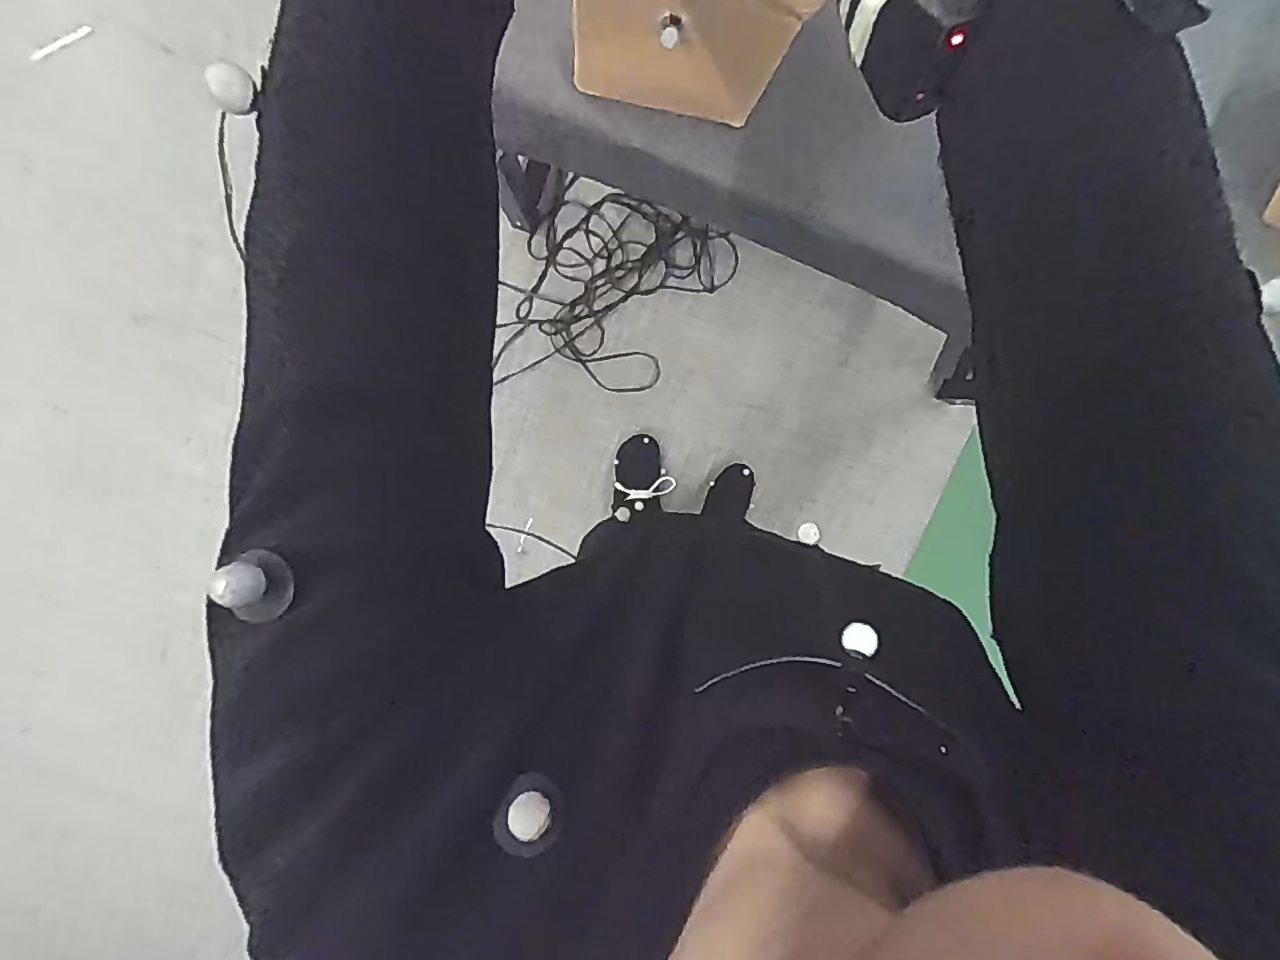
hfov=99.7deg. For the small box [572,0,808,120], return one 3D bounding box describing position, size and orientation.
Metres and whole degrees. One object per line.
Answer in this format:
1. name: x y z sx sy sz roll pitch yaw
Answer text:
1. small box: 0.043 -0.441 0.456 0.179 0.176 0.168 9 98 -6
